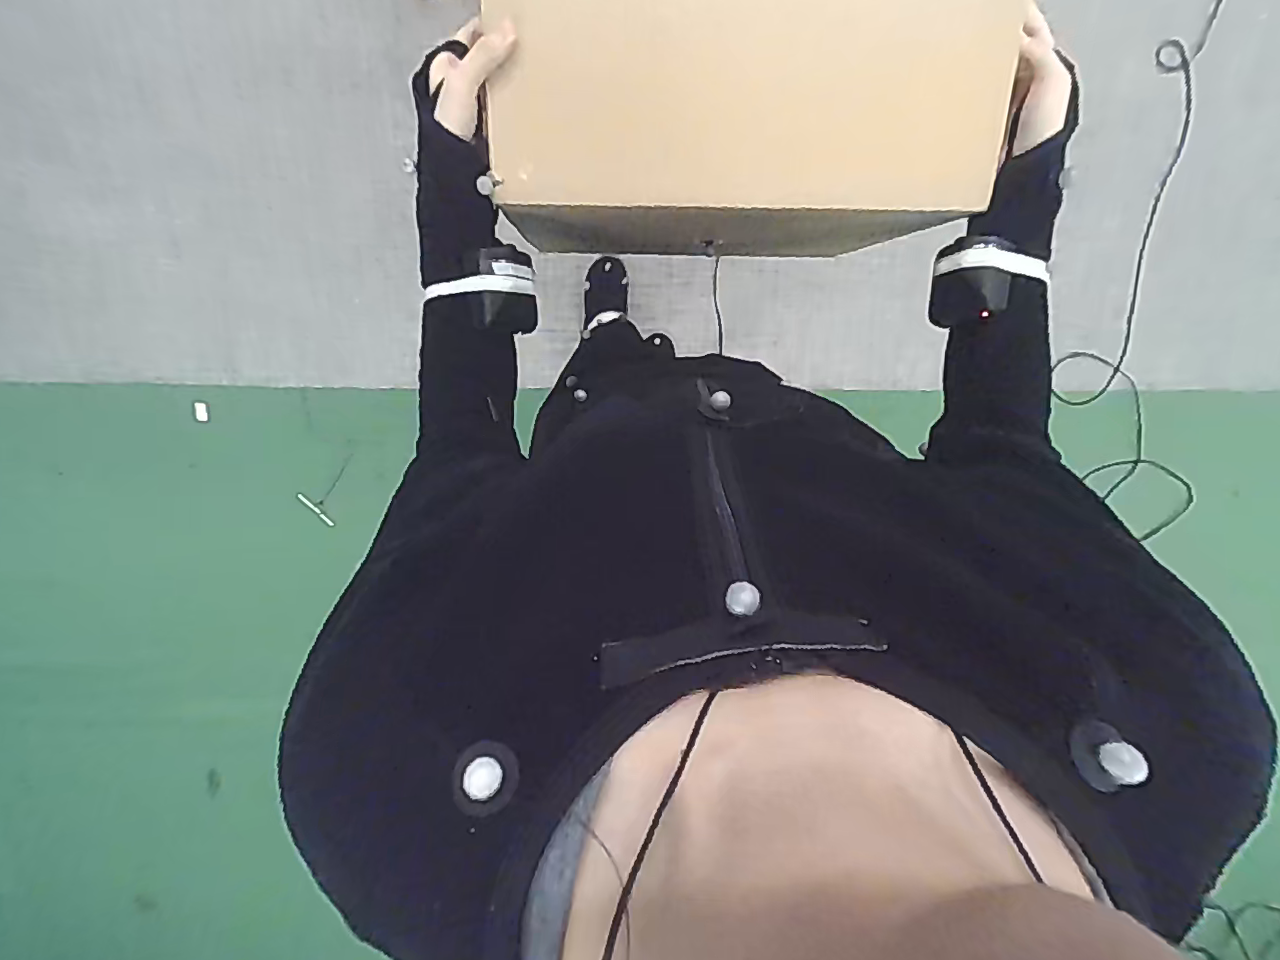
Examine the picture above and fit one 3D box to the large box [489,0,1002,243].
[{"bbox_3d":[0.078,-0.422,0.548,0.408,0.320,0.320,0,106,-3],"label":"large box"}]
